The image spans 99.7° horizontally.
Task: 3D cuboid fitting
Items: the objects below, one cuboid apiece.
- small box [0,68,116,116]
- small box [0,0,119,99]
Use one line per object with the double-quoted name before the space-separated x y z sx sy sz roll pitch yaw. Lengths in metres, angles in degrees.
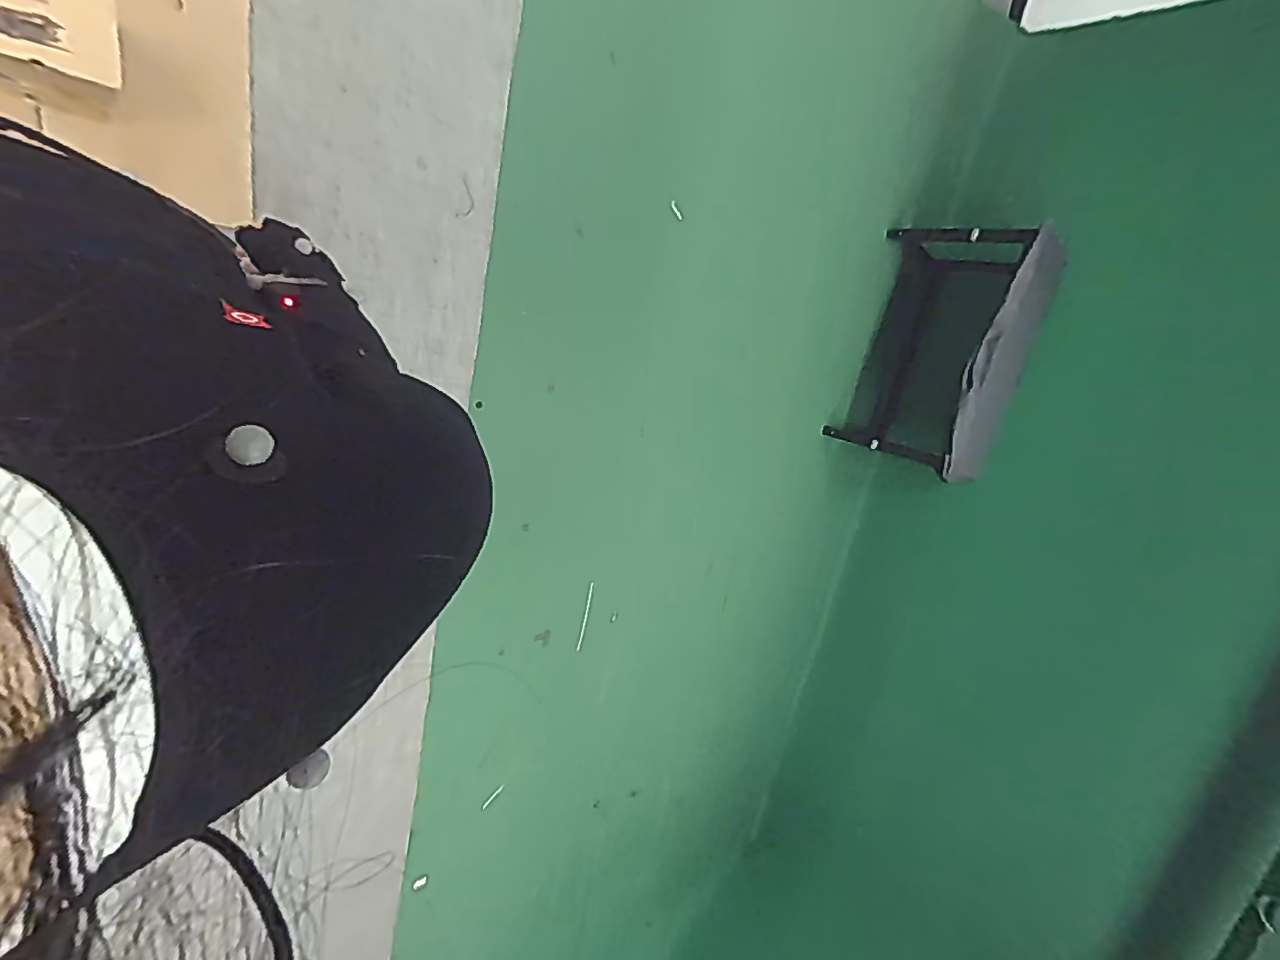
"small box" -0.937 -0.698 0.836 0.168 0.176 0.179 -6 113 -44
"small box" -0.823 -0.649 0.728 0.168 0.176 0.179 -7 113 -44
